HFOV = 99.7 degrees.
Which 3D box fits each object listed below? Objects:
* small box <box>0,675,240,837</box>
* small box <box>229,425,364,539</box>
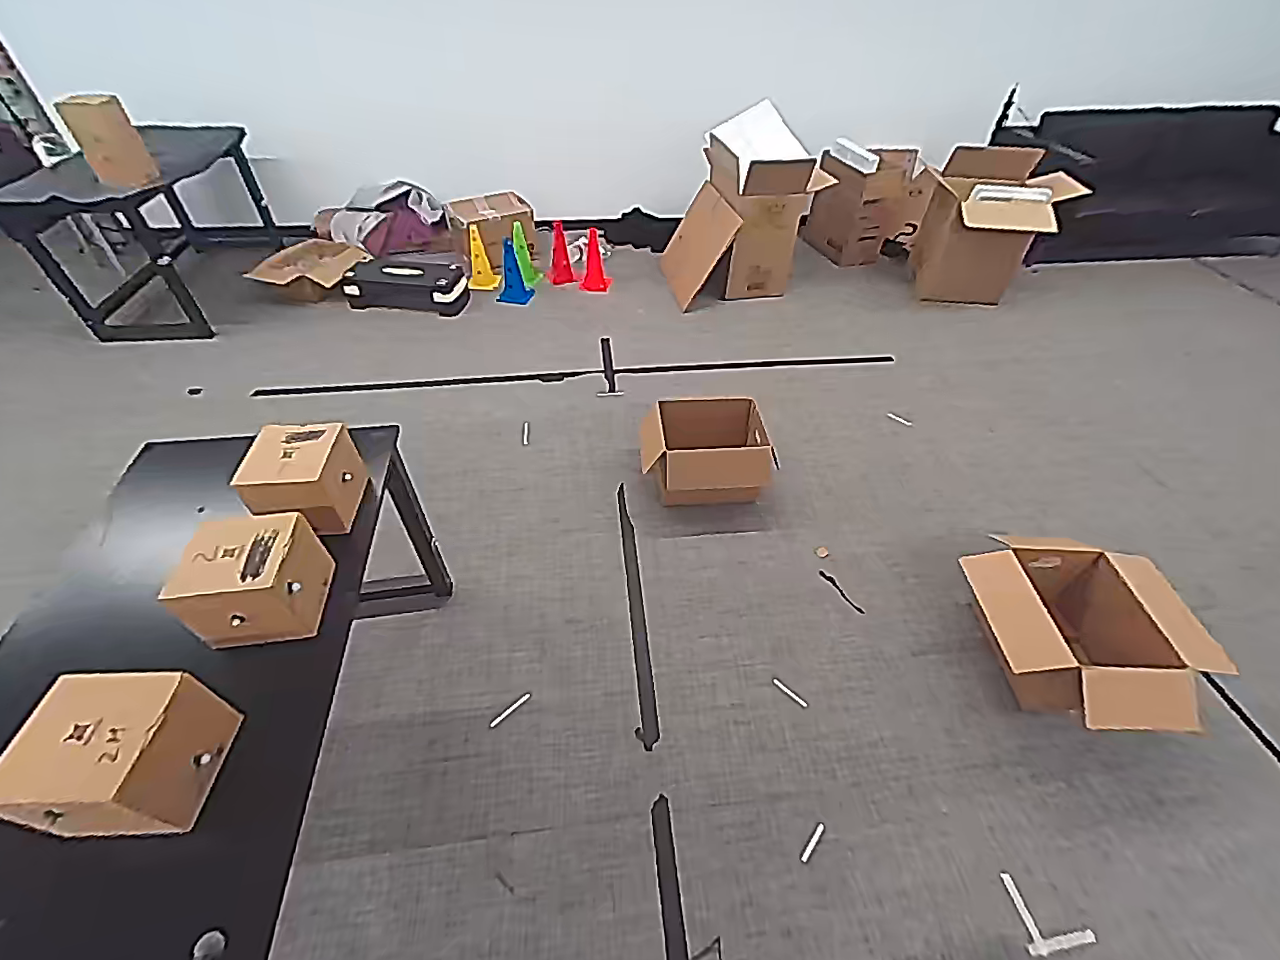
[{"bbox_3d":[-0.730,0.393,0.768,0.179,0.176,0.168,-1,46,-2],"label":"small box"},{"bbox_3d":[-0.710,0.004,1.147,0.168,0.176,0.179,-4,47,-4],"label":"small box"}]
